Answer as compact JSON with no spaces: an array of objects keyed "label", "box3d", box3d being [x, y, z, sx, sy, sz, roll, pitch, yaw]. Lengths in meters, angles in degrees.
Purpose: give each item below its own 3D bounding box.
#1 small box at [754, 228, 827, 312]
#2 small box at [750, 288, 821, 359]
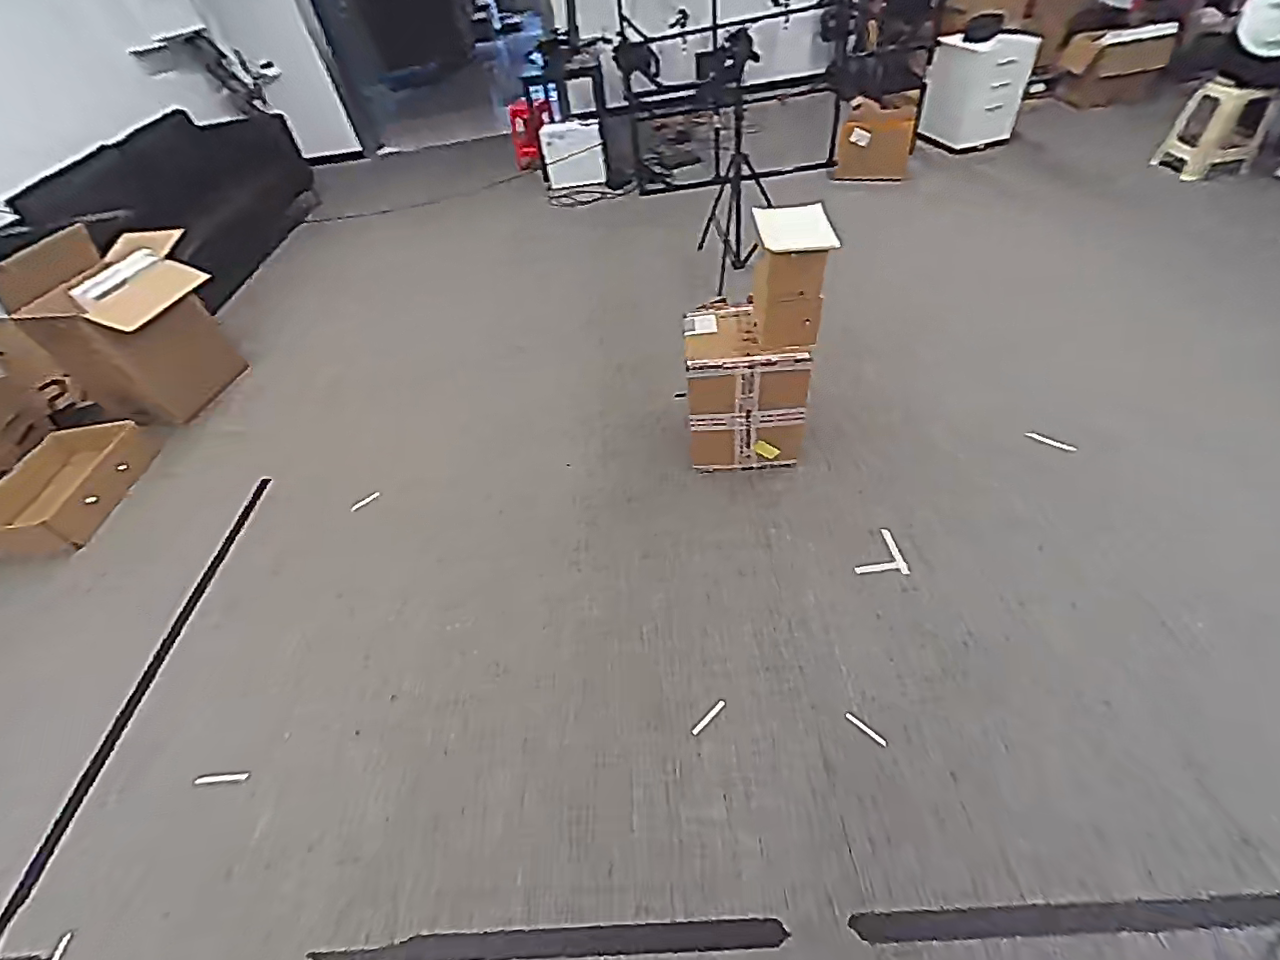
[{"label":"small box","box3d":[0.435,-0.619,1.596,0.168,0.176,0.179,-5,47,2]},{"label":"small box","box3d":[0.453,-0.503,1.710,0.179,0.176,0.168,-7,47,1]}]
